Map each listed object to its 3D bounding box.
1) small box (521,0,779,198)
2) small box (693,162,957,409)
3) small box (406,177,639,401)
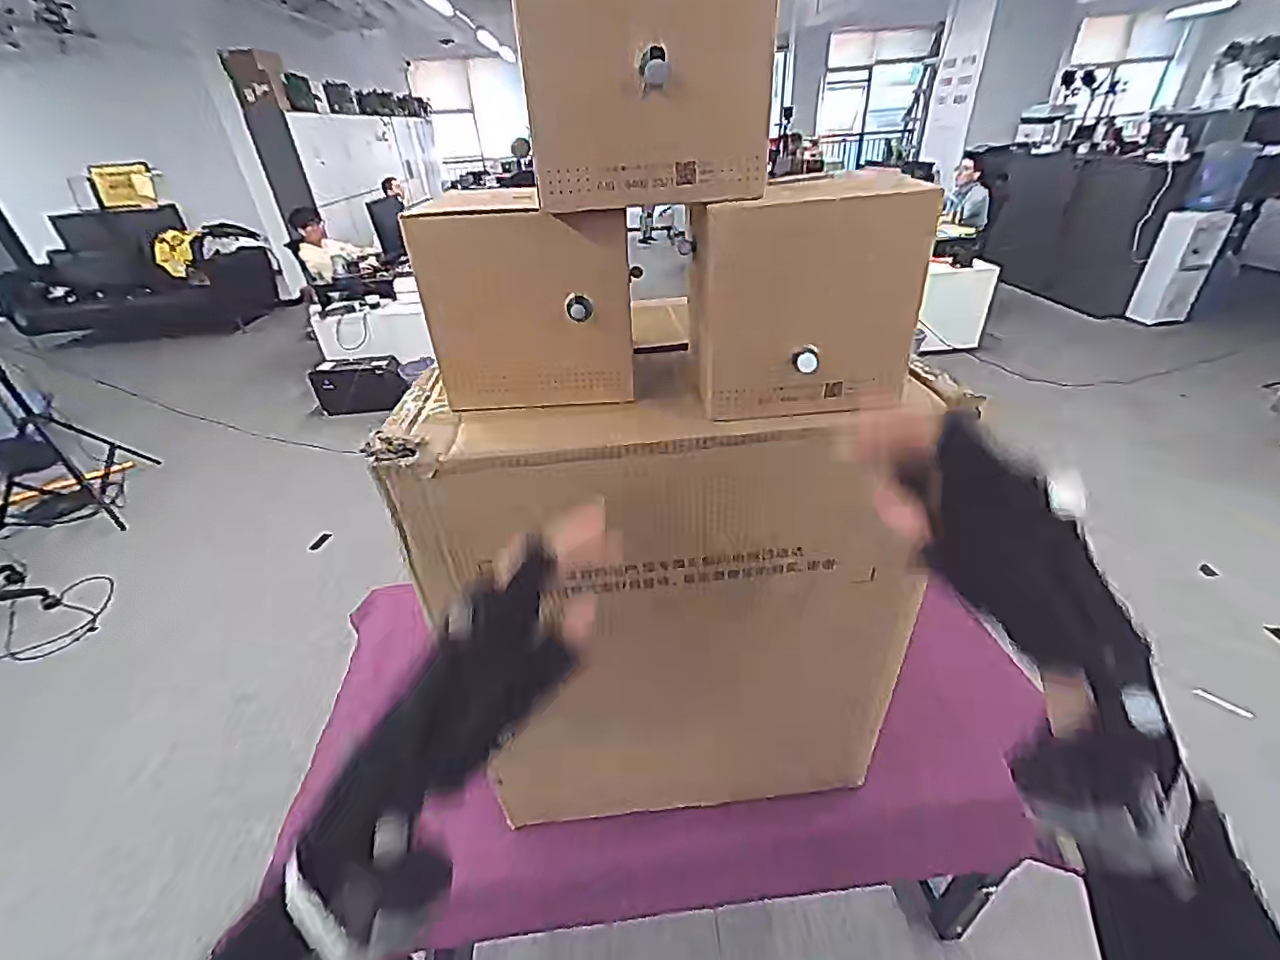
[{"bbox_3d":[0.000,-0.315,0.409,0.168,0.176,0.179,-7,34,-7],"label":"small box"},{"bbox_3d":[0.137,-0.177,0.482,0.168,0.176,0.179,-5,34,0],"label":"small box"},{"bbox_3d":[-0.090,-0.185,0.517,0.179,0.176,0.168,-4,33,-1],"label":"small box"}]
